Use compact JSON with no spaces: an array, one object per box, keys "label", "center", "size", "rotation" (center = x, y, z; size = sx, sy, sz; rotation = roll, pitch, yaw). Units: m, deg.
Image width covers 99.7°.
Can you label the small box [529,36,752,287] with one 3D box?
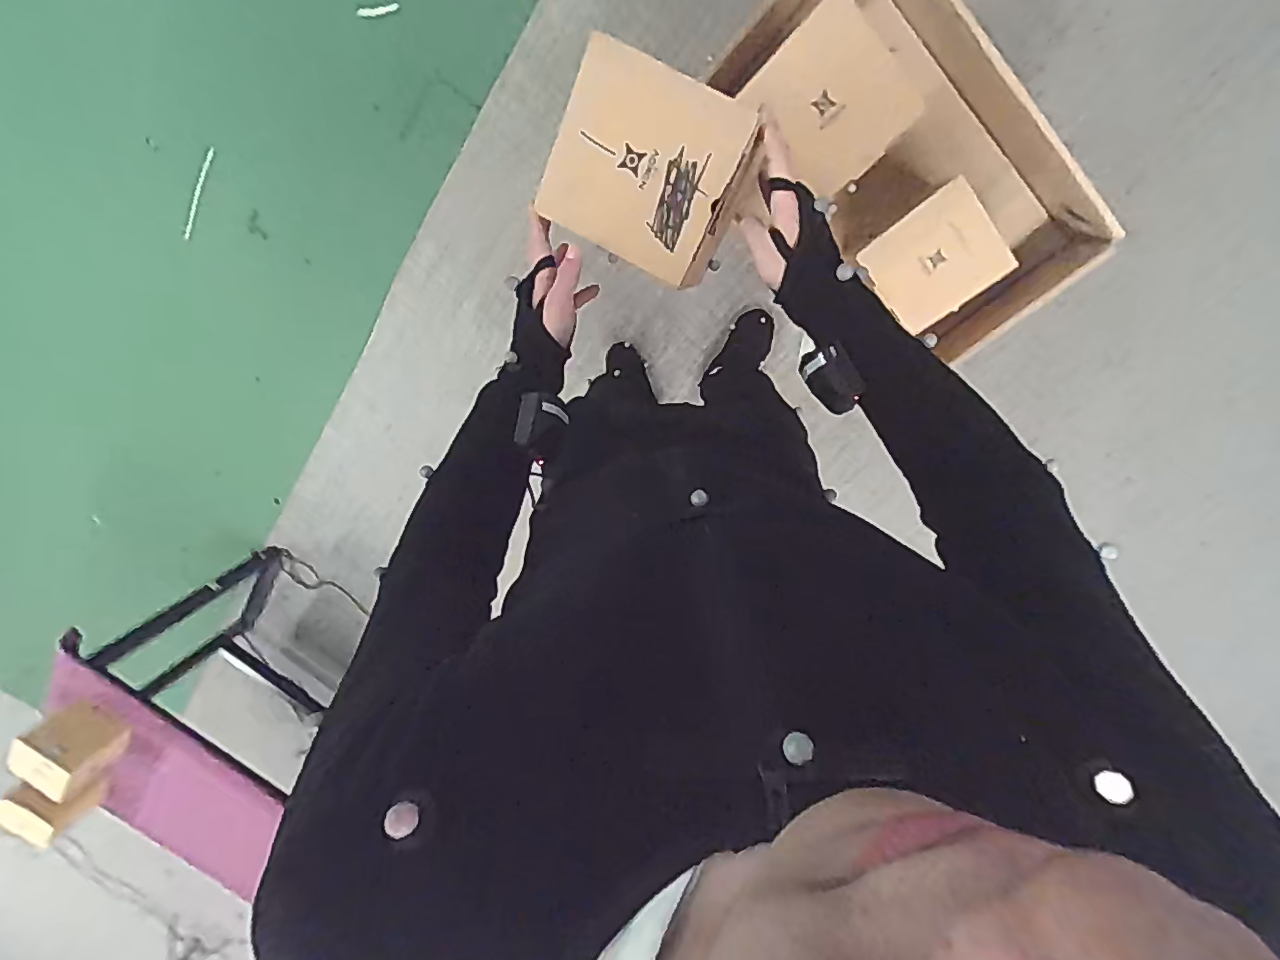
[{"label":"small box","center":[0.010,-0.336,0.600],"size":[0.179,0.176,0.168],"rotation":[29,116,3]}]

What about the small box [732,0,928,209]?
[{"label":"small box","center":[0.244,-0.490,0.728],"size":[0.168,0.176,0.179],"rotation":[-38,101,26]}]

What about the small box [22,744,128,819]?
[{"label":"small box","center":[-1.799,0.929,1.729],"size":[0.168,0.176,0.179],"rotation":[38,116,-7]}]

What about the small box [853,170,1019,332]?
[{"label":"small box","center":[0.474,-0.375,0.899],"size":[0.179,0.176,0.168],"rotation":[-34,102,26]}]

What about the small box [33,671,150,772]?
[{"label":"small box","center":[-1.584,0.695,1.568],"size":[0.168,0.176,0.179],"rotation":[40,117,-7]}]
